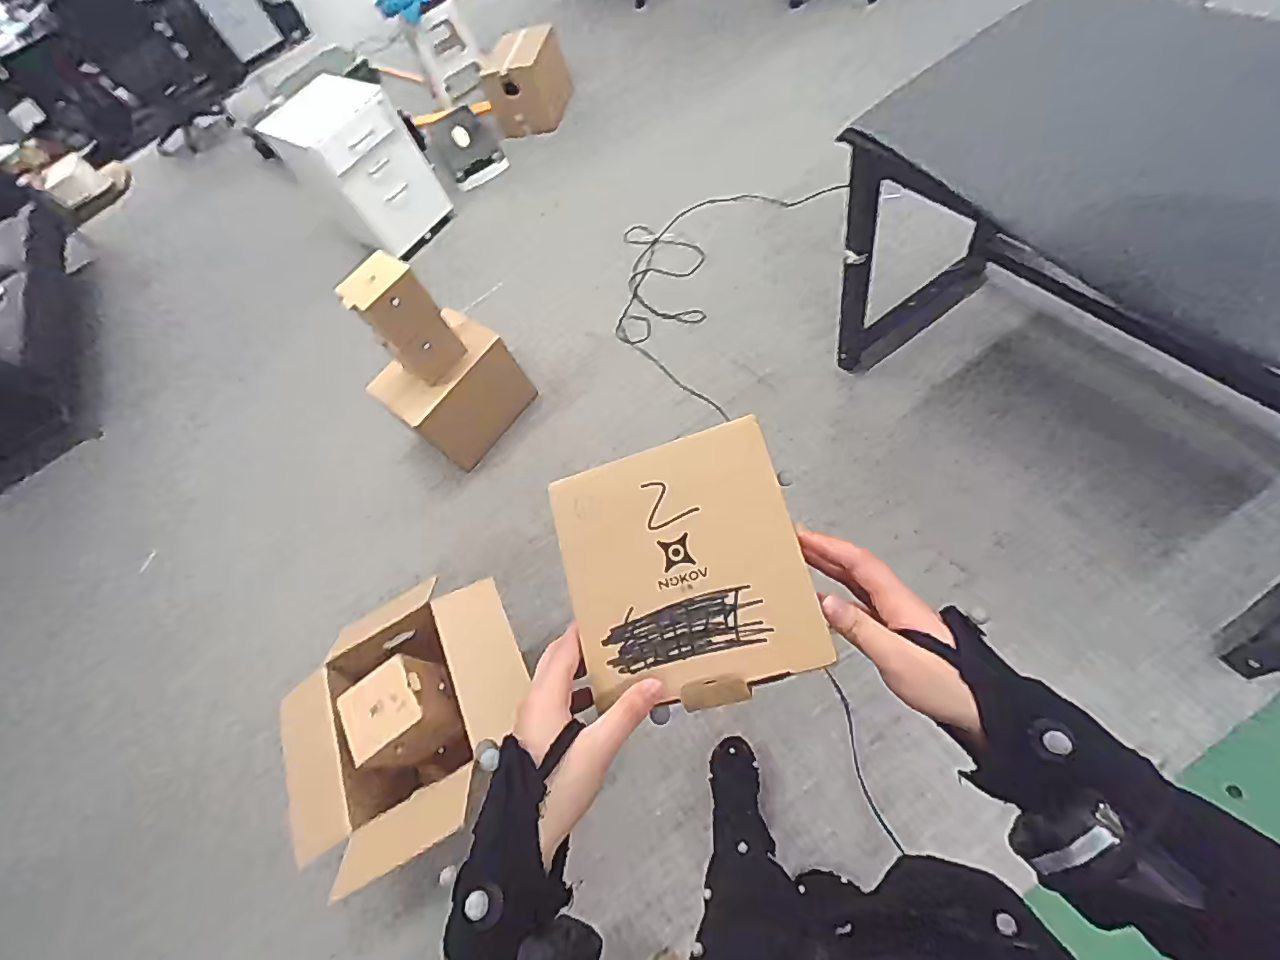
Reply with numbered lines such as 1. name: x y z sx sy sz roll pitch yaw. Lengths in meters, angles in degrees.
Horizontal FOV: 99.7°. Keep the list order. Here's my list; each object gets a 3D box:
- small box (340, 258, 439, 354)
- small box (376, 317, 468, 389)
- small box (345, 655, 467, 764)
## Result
1. small box: -0.720 -0.505 1.580 0.168 0.176 0.179 32 76 28
2. small box: -0.685 -0.421 1.716 0.168 0.176 0.179 31 75 28
3. small box: -0.547 0.545 1.278 0.179 0.176 0.168 -37 60 -4
